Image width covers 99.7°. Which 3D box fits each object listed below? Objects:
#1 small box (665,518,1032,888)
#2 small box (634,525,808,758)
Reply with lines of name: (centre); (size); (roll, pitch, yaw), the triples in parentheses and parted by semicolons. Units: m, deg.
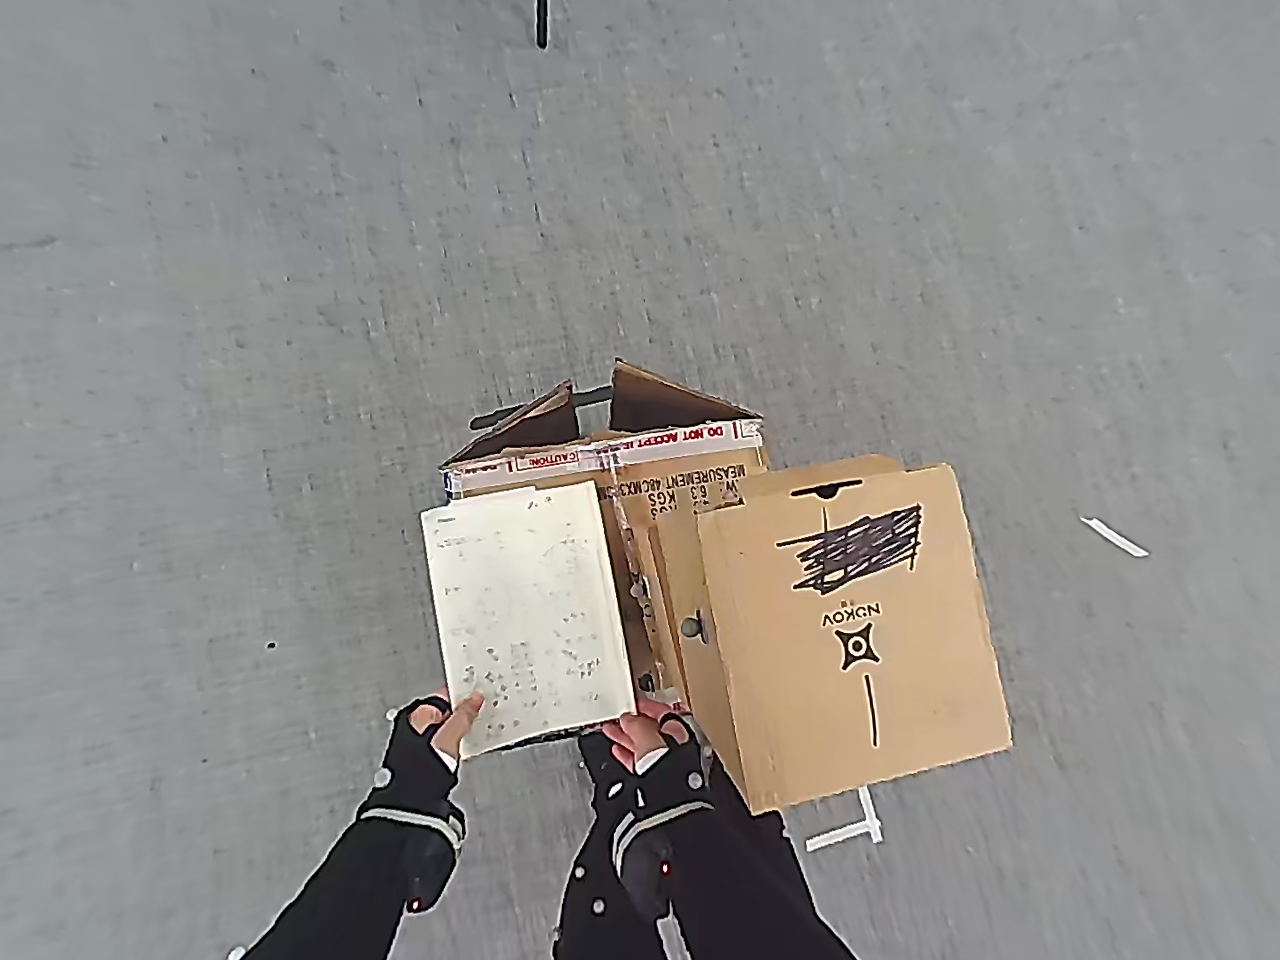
small box: (0.120, 0.127, 0.382); (0.168, 0.176, 0.179); (-10, 87, -7)
small box: (0.100, 0.141, 0.545); (0.179, 0.176, 0.168); (-13, 87, -6)
